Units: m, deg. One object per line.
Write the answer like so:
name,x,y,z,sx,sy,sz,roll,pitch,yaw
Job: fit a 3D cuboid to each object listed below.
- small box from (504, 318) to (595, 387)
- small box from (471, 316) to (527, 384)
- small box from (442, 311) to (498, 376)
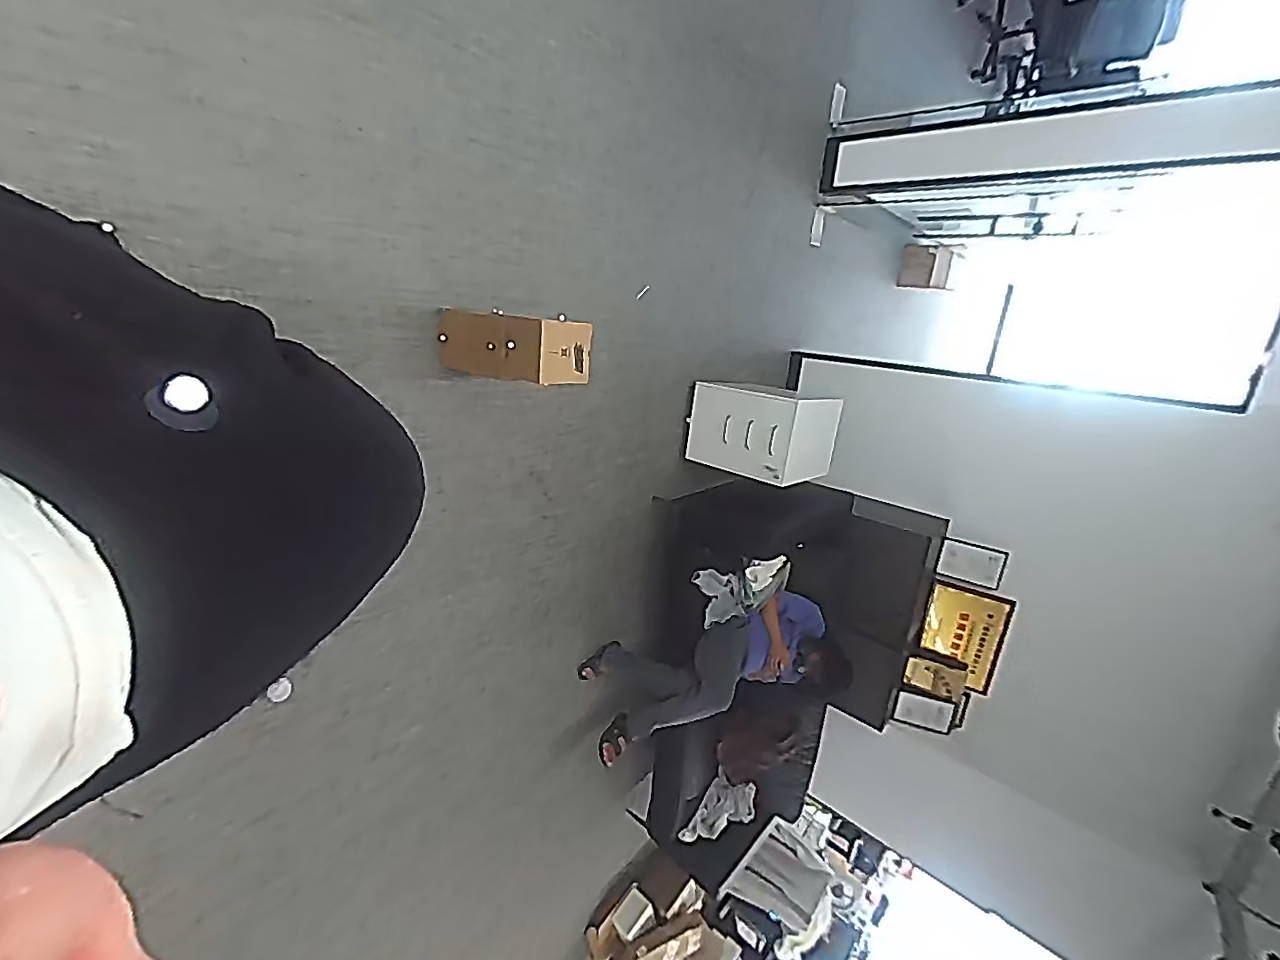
small box,-0.249,-0.351,1.486,0.179,0.176,0.168,-12,113,-47
small box,-0.379,-0.381,1.583,0.168,0.176,0.179,-14,116,-48
small box,-0.500,-0.423,1.684,0.168,0.176,0.179,-13,115,-48
